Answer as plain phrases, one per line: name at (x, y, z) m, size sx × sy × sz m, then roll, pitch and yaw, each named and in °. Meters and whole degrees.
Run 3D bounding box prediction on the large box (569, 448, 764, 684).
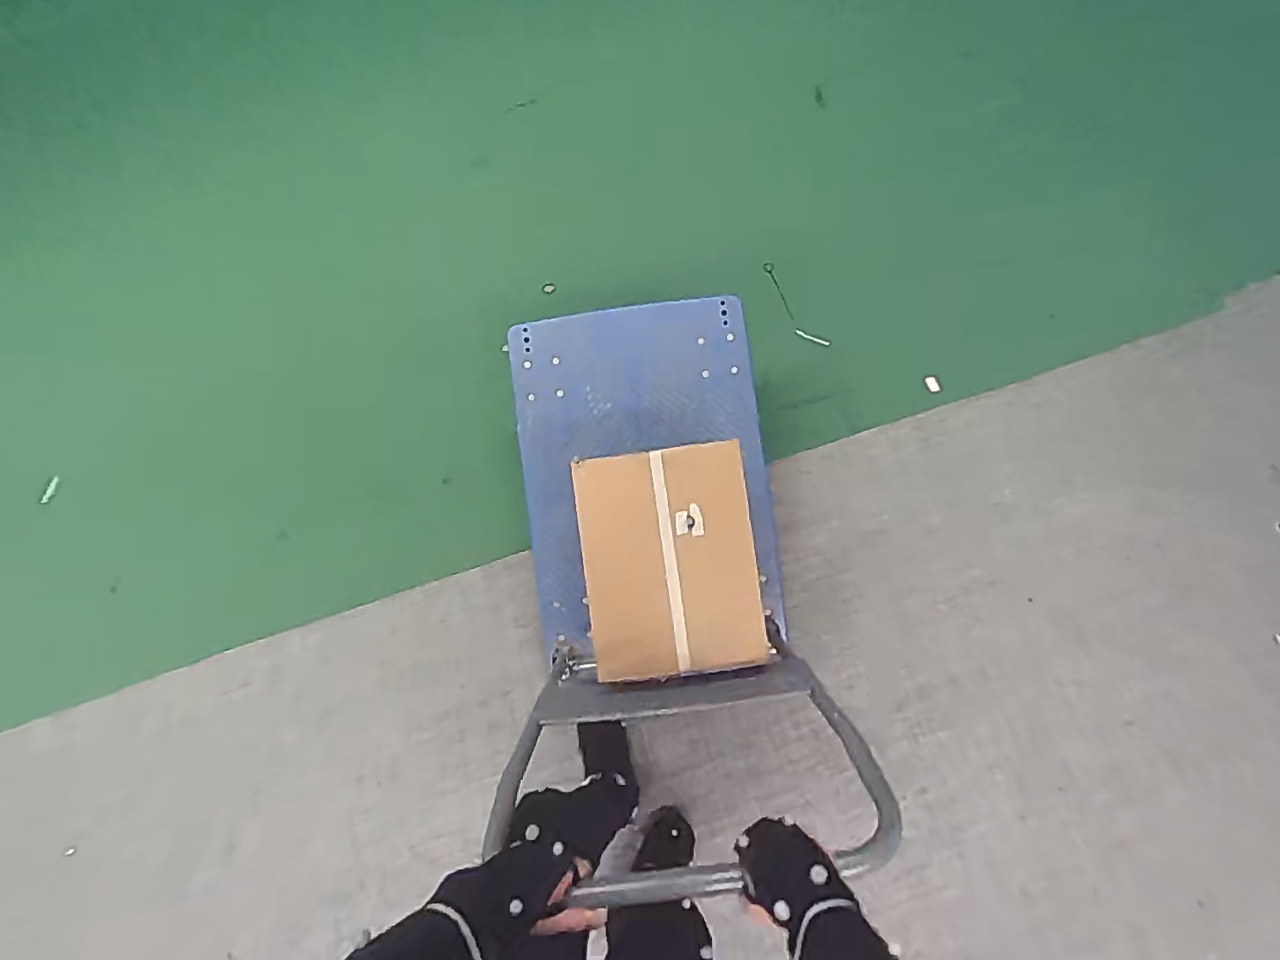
large box at (0.051, 0.165, 1.137) m, size 0.320 × 0.320 × 0.408 m, roll -7°, pitch 87°, yaw 0°
